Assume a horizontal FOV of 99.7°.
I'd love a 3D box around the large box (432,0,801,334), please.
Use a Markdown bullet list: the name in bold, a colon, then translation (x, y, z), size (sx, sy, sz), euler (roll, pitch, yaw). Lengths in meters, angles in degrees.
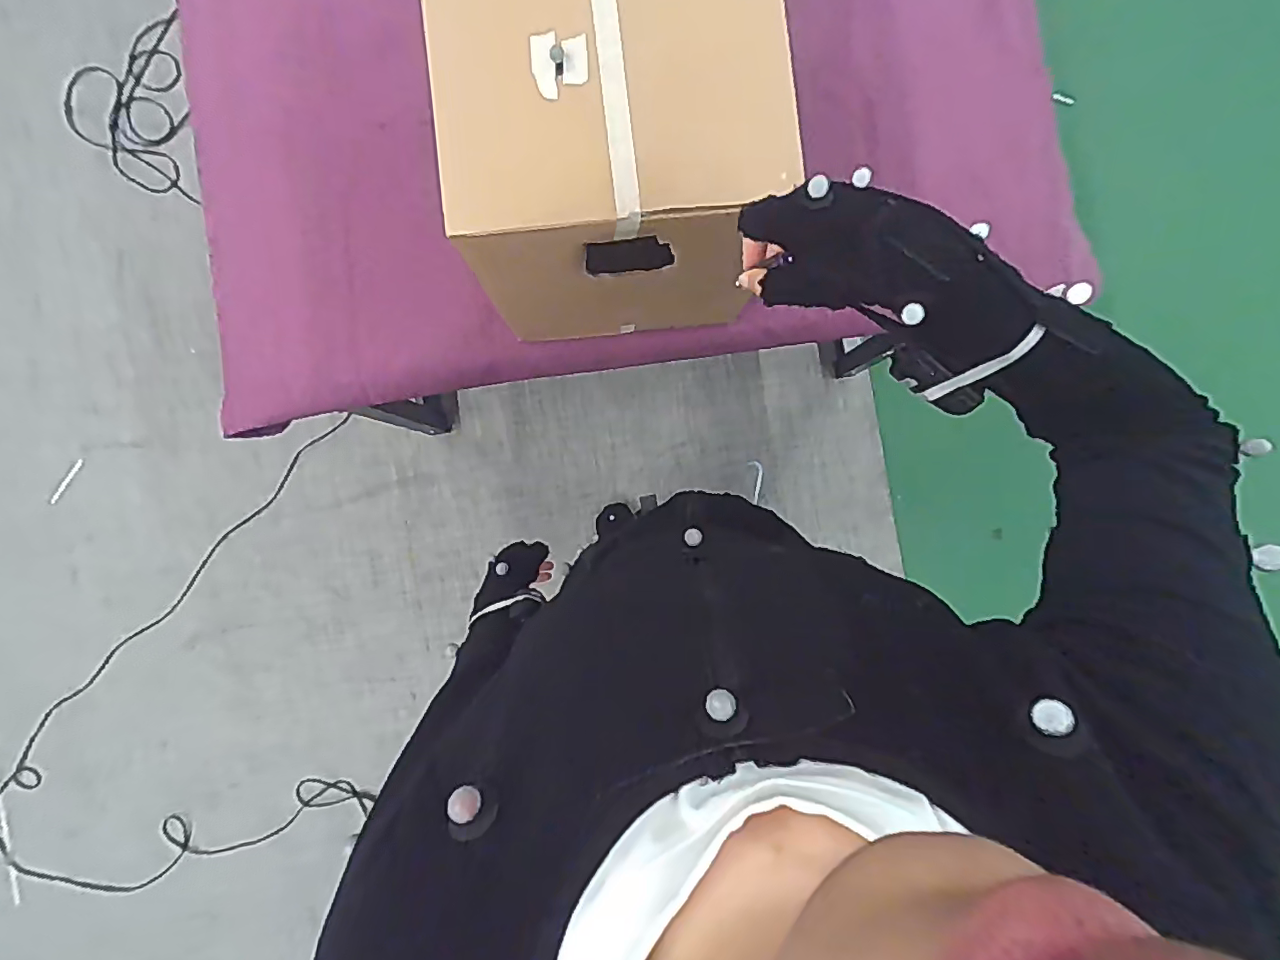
- **large box**: translation (-0.036, -0.422, 0.631), size (0.320, 0.320, 0.408), euler (-6, 89, -2)
